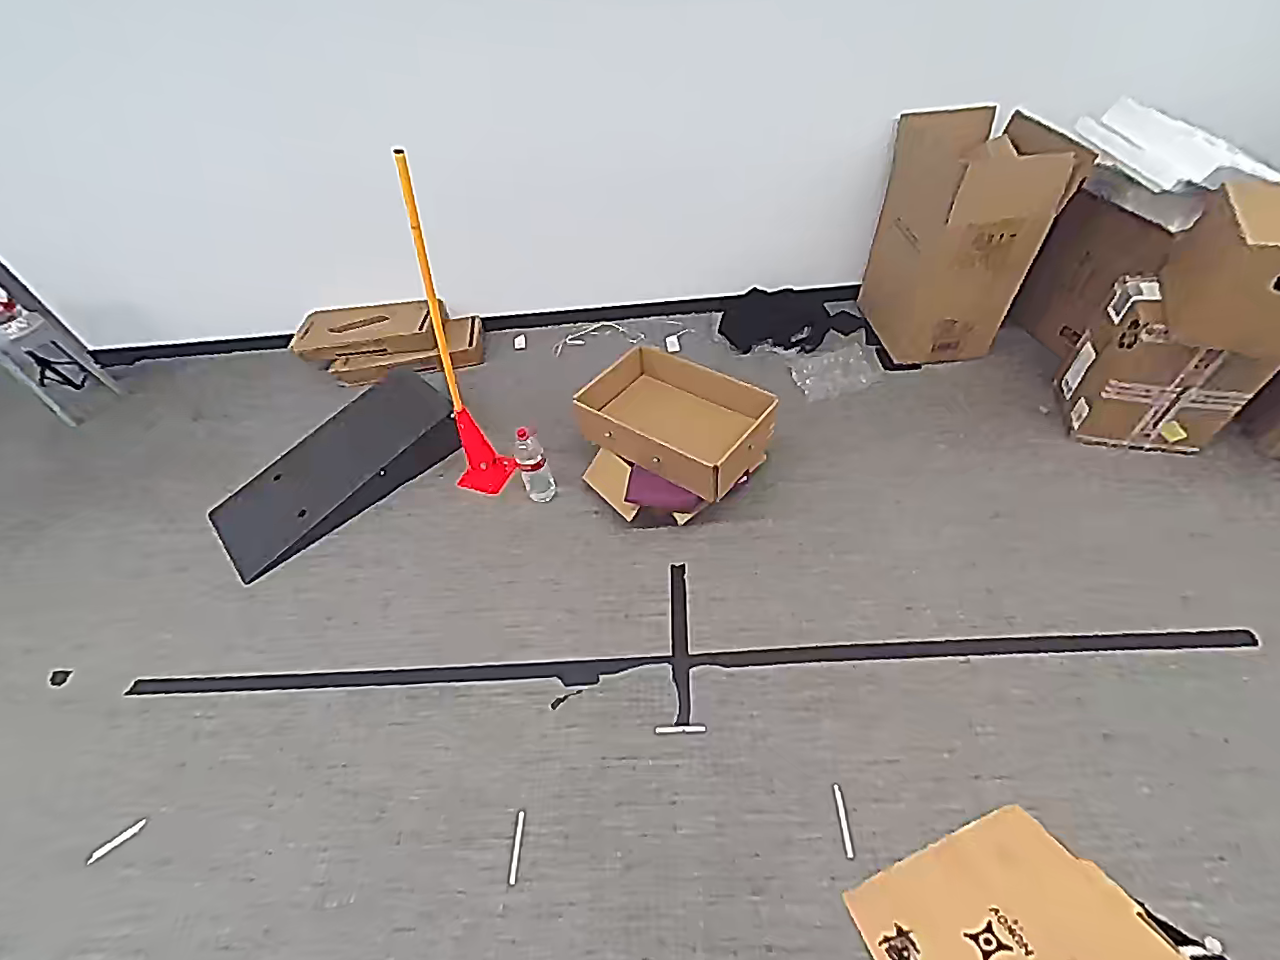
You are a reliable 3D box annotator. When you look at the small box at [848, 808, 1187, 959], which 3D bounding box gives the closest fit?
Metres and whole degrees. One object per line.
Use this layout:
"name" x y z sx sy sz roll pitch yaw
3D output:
"small box" 0.297 0.405 0.406 0.179 0.176 0.168 -26 7 -1
